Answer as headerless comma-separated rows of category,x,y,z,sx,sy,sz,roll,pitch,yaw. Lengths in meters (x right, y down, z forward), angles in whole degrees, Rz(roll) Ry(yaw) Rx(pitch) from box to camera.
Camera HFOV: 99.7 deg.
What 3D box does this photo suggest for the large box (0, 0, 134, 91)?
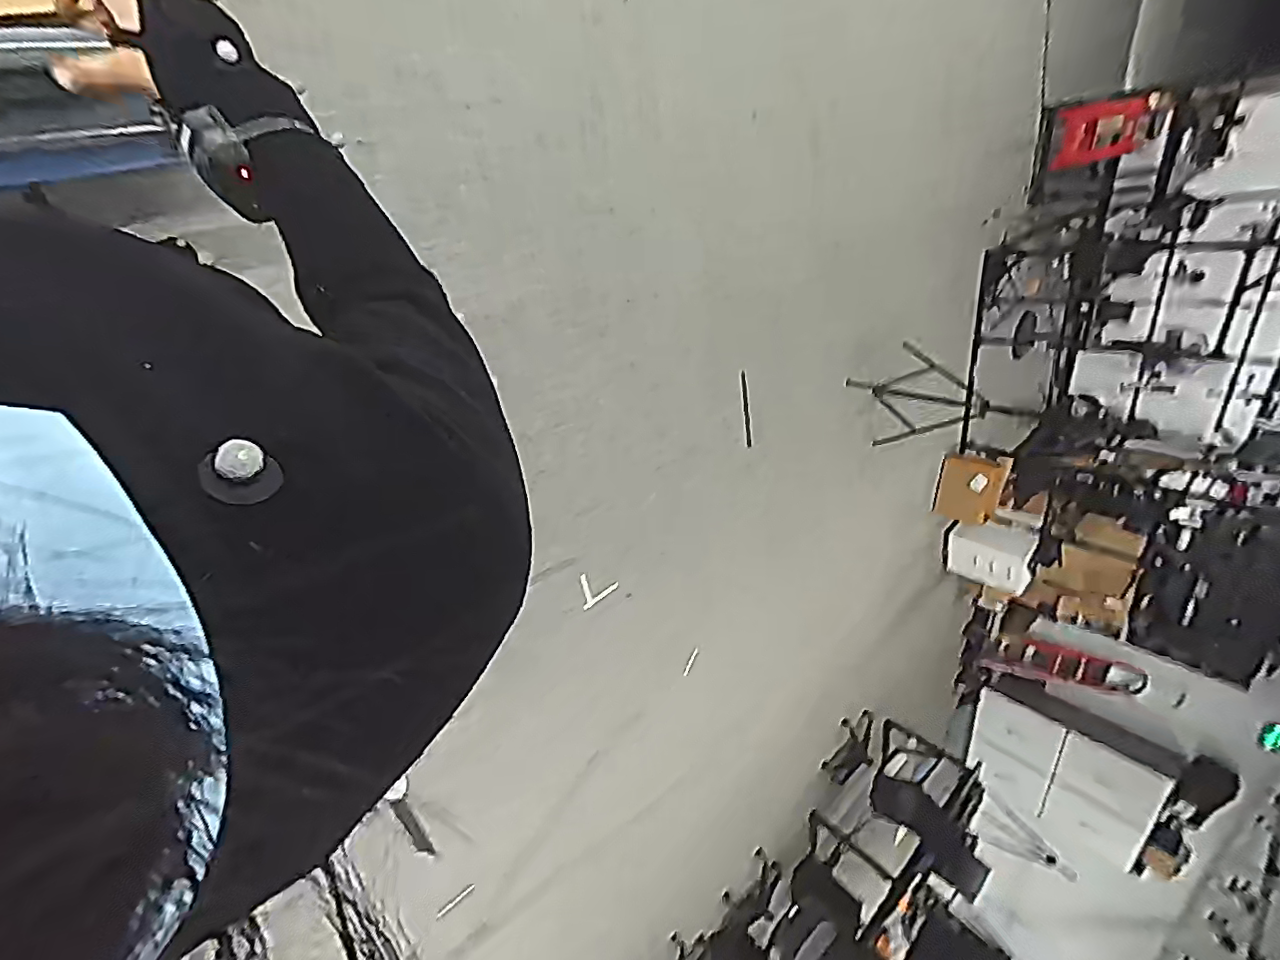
large box,-0.900,-0.649,0.602,0.408,0.320,0.320,-35,127,-30
